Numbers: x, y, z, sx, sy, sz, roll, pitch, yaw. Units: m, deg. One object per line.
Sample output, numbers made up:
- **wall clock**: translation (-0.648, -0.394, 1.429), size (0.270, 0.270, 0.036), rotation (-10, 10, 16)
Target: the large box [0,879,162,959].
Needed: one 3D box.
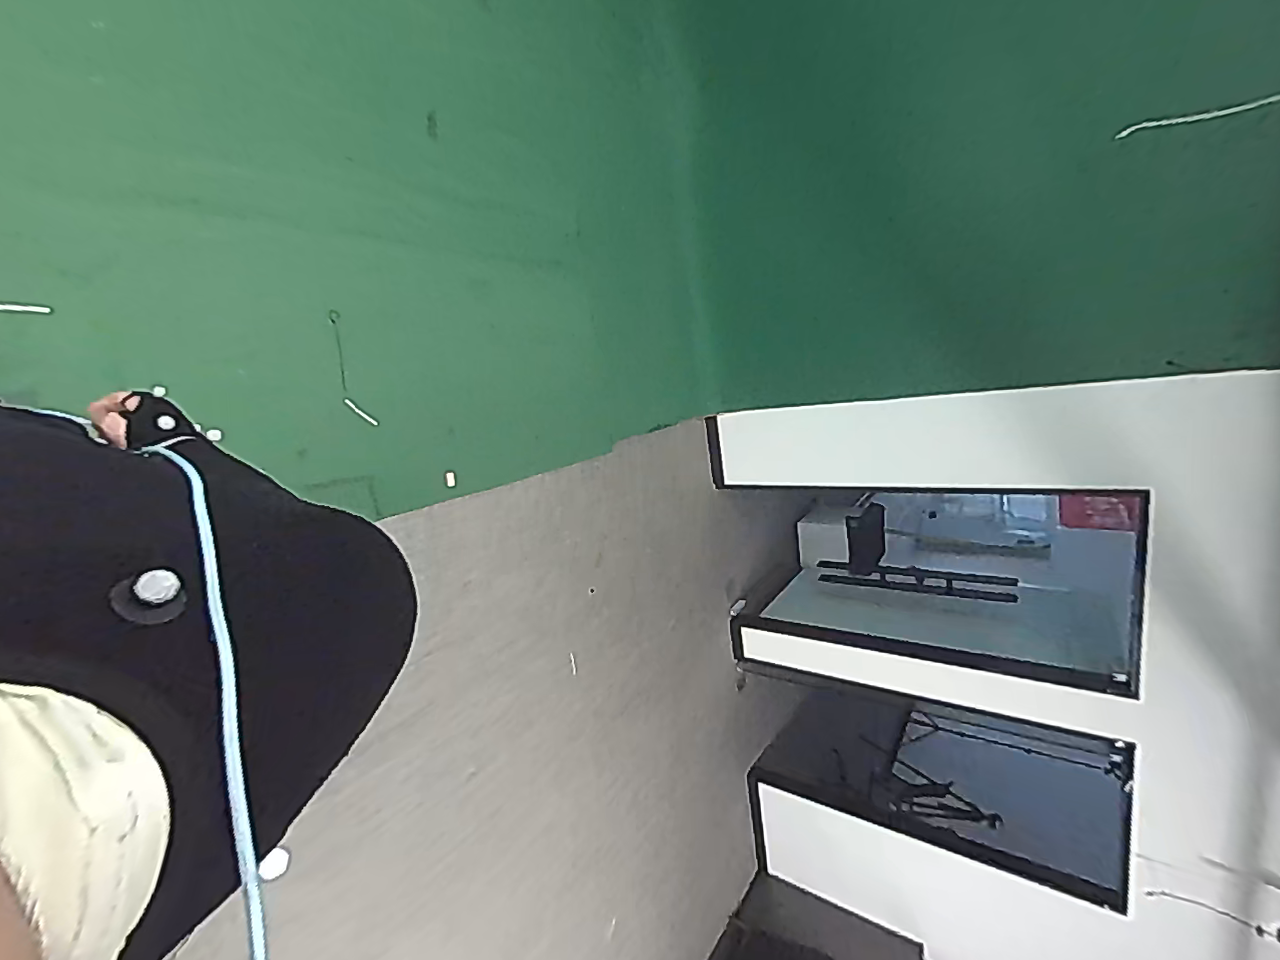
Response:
- **large box**: translation (-1.171, 1.106, 1.030), size (0.408, 0.320, 0.320), rotation (-25, 110, -51)
